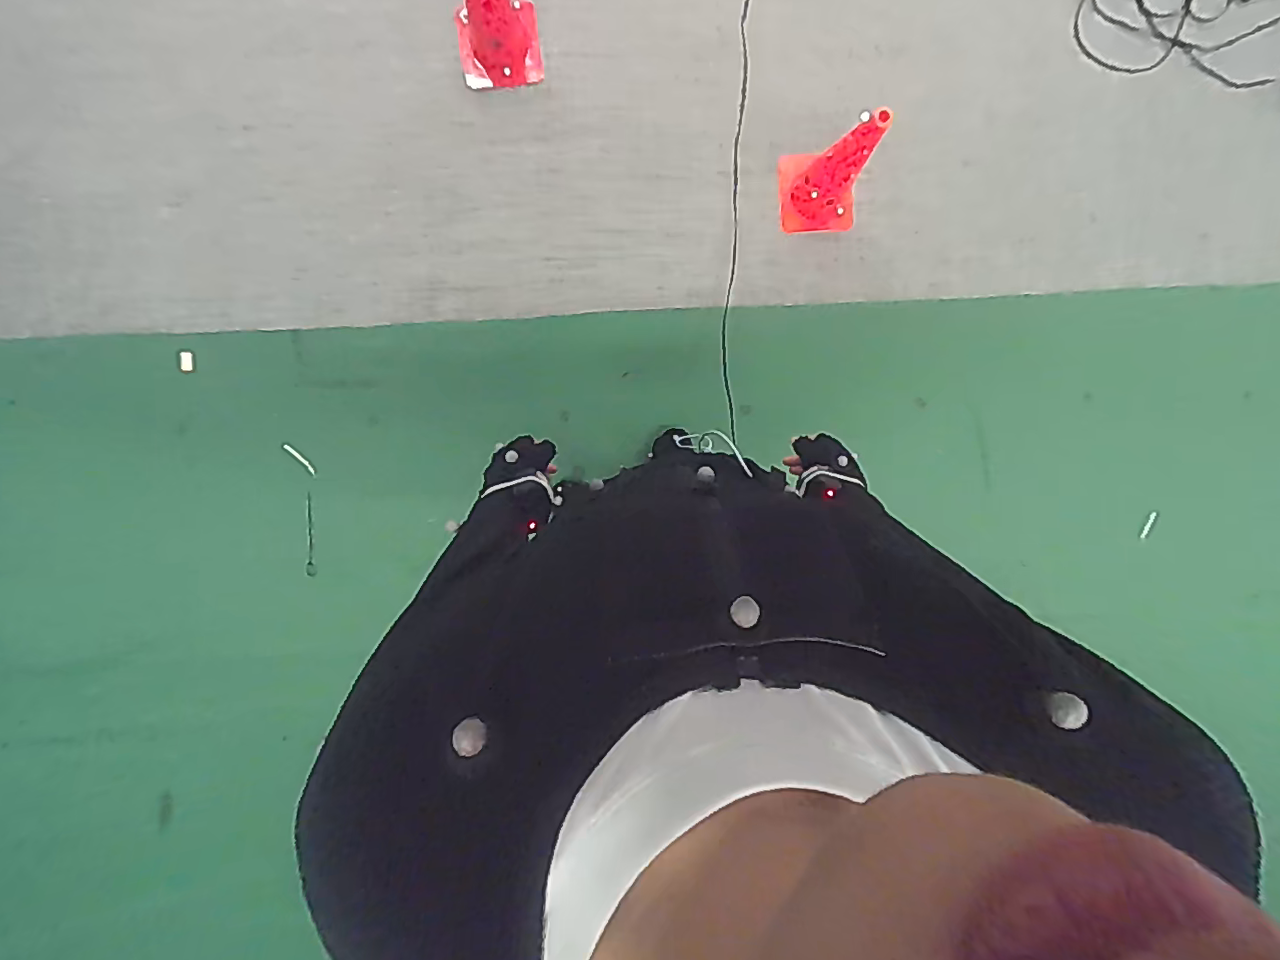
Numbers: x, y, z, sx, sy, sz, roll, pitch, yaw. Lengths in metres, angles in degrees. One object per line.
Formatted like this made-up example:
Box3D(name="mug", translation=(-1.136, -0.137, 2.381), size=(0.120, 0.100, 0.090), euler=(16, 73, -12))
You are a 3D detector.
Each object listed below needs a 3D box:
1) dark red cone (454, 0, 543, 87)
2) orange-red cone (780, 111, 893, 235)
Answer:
Box3D(name="dark red cone", translation=(-0.342, -1.075, 1.184), size=(0.202, 0.394, 0.201), euler=(-9, 96, -2))
Box3D(name="orange-red cone", translation=(0.484, -0.748, 1.276), size=(0.198, 0.360, 0.199), euler=(-3, 93, -4))
